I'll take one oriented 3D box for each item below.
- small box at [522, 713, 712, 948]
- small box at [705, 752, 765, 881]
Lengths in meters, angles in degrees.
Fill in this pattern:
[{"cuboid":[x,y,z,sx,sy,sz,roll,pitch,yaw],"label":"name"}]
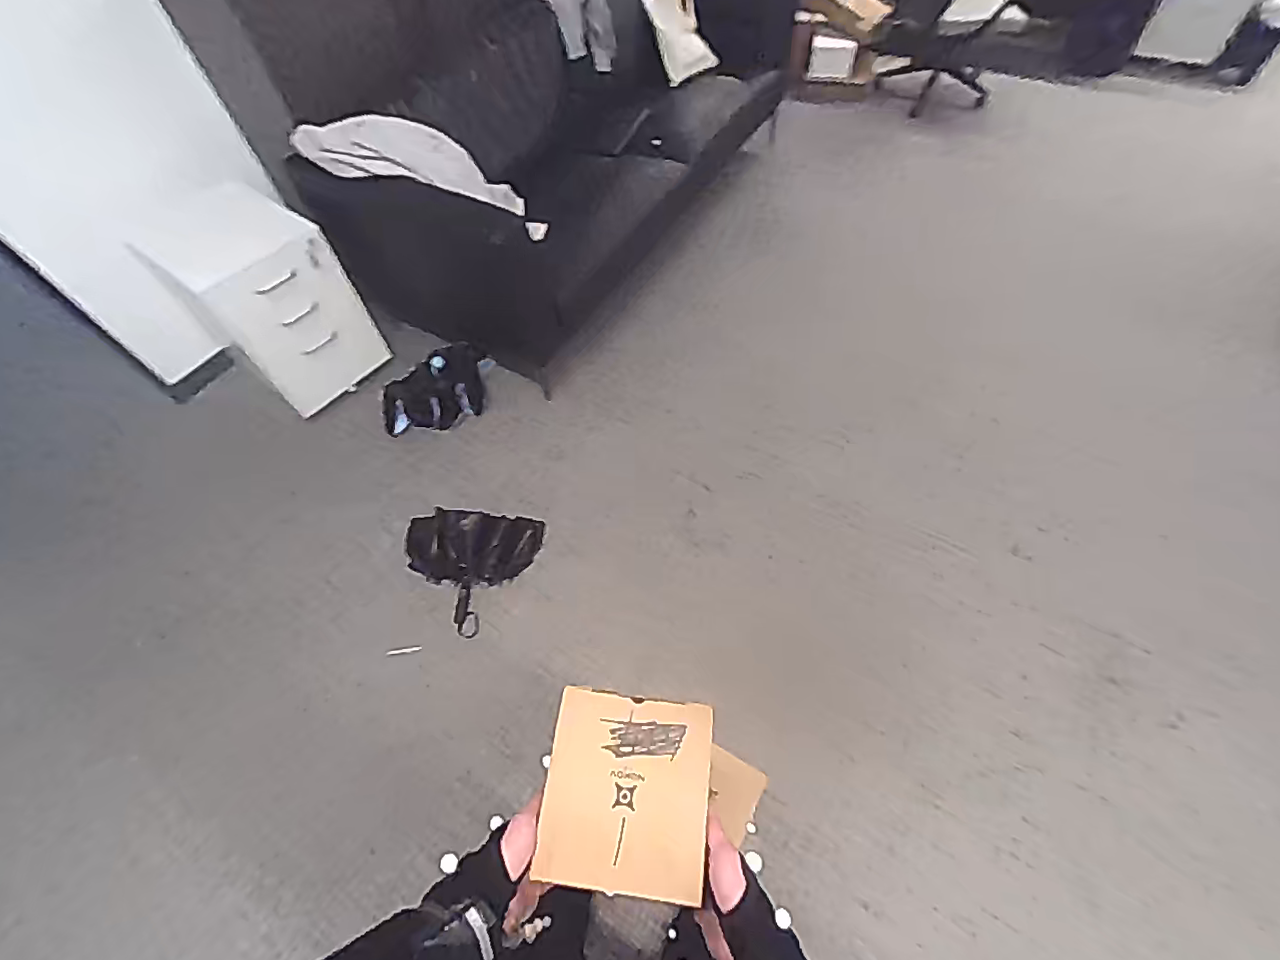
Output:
[{"cuboid":[-0.018,0.367,0.590,0.168,0.176,0.179,6,61,3],"label":"small box"},{"cuboid":[0.133,0.656,1.082,0.168,0.176,0.179,25,61,17],"label":"small box"}]
